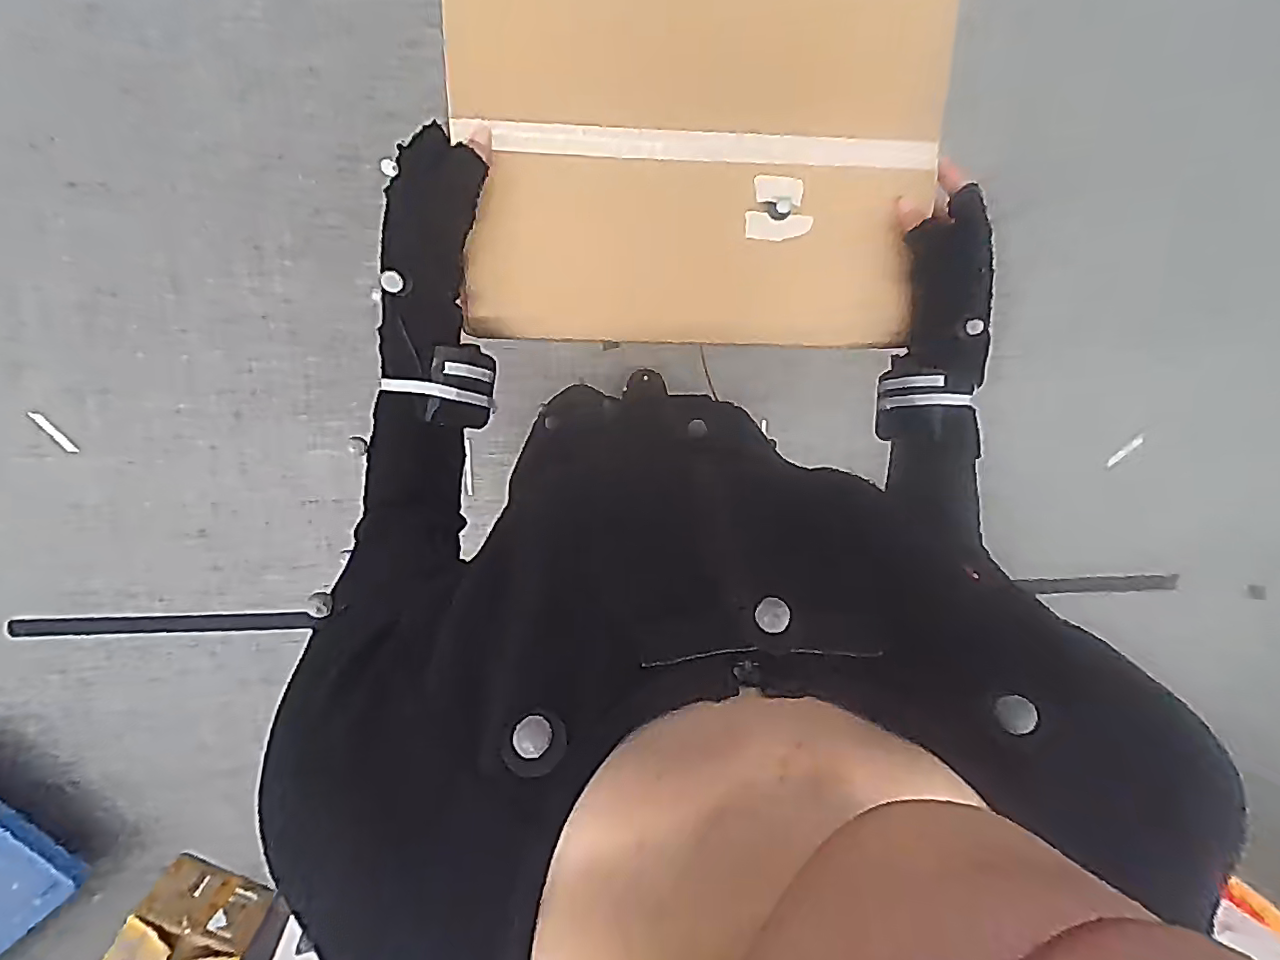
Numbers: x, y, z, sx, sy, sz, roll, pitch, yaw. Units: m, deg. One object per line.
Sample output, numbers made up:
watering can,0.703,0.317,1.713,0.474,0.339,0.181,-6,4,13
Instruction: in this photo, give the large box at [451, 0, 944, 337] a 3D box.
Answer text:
large box,0.037,-0.321,0.598,0.408,0.320,0.320,-1,106,-5
